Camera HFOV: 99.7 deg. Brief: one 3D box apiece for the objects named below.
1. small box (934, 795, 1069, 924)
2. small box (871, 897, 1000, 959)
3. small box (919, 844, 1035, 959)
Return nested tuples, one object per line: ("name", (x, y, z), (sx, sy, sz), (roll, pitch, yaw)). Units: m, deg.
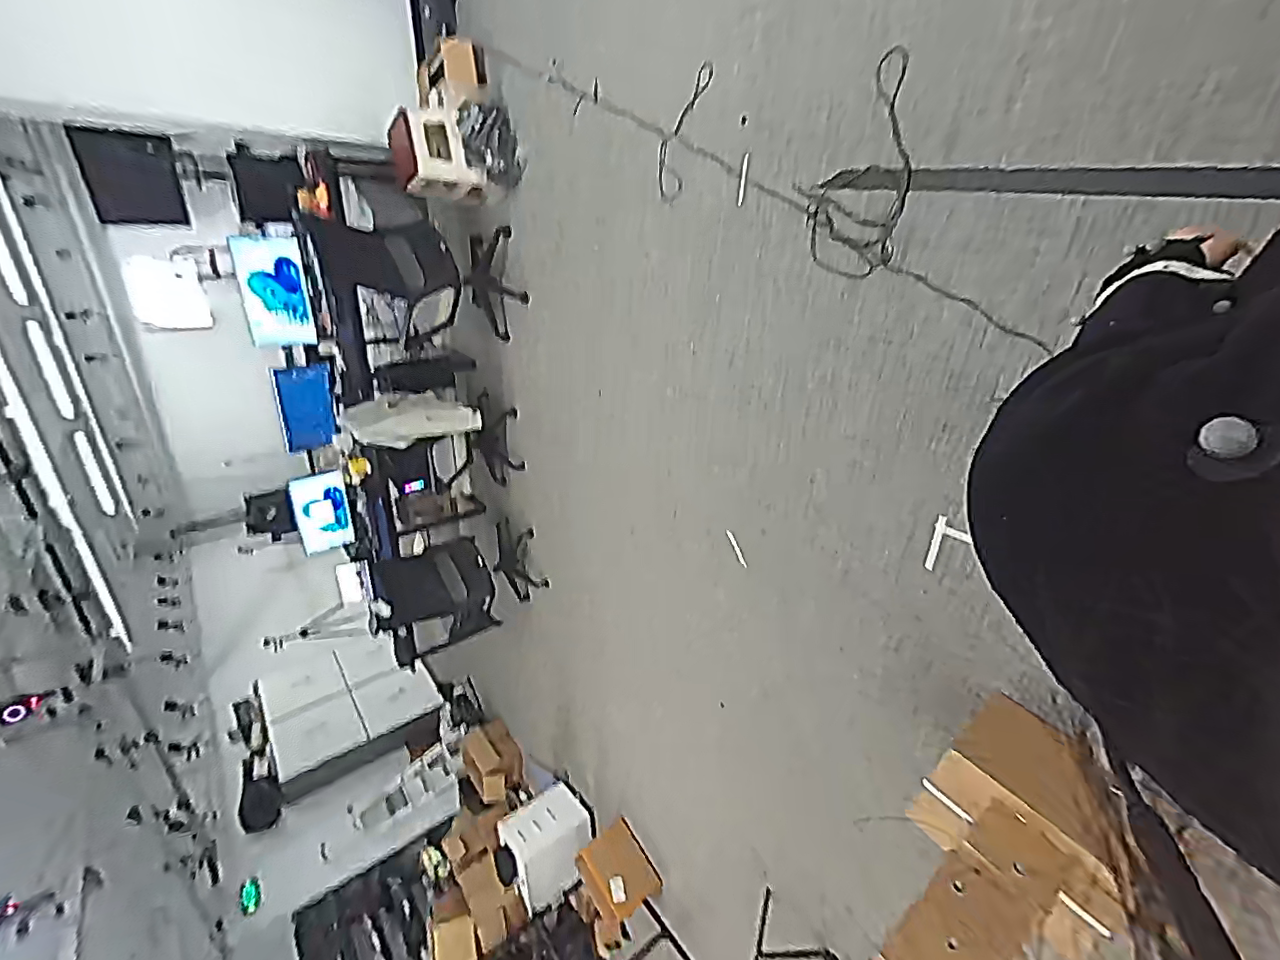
("small box", (0.816, 0.866, 1.221), (0.179, 0.176, 0.168), (39, 132, 38))
("small box", (0.563, 0.956, 1.038), (0.179, 0.176, 0.168), (30, 127, 44))
("small box", (0.693, 0.921, 1.130), (0.168, 0.176, 0.179), (22, 122, 48))
